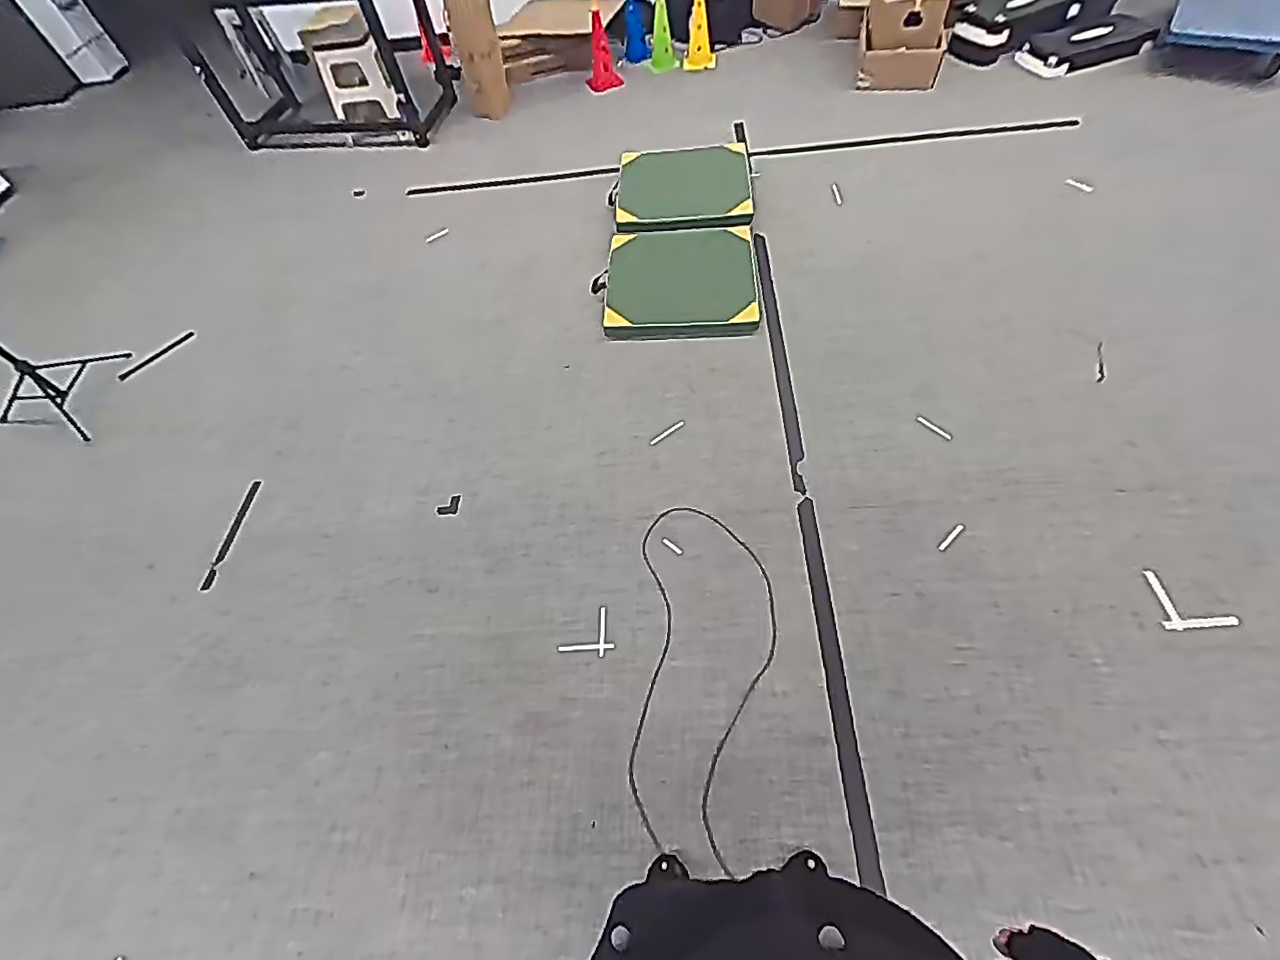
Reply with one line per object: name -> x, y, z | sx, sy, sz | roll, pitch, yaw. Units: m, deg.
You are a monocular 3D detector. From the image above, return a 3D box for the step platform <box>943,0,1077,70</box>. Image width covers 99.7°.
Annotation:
step platform -> 2.080, -2.552, 3.041 | 0.684, 0.204, 0.286 | -27, 59, -10
